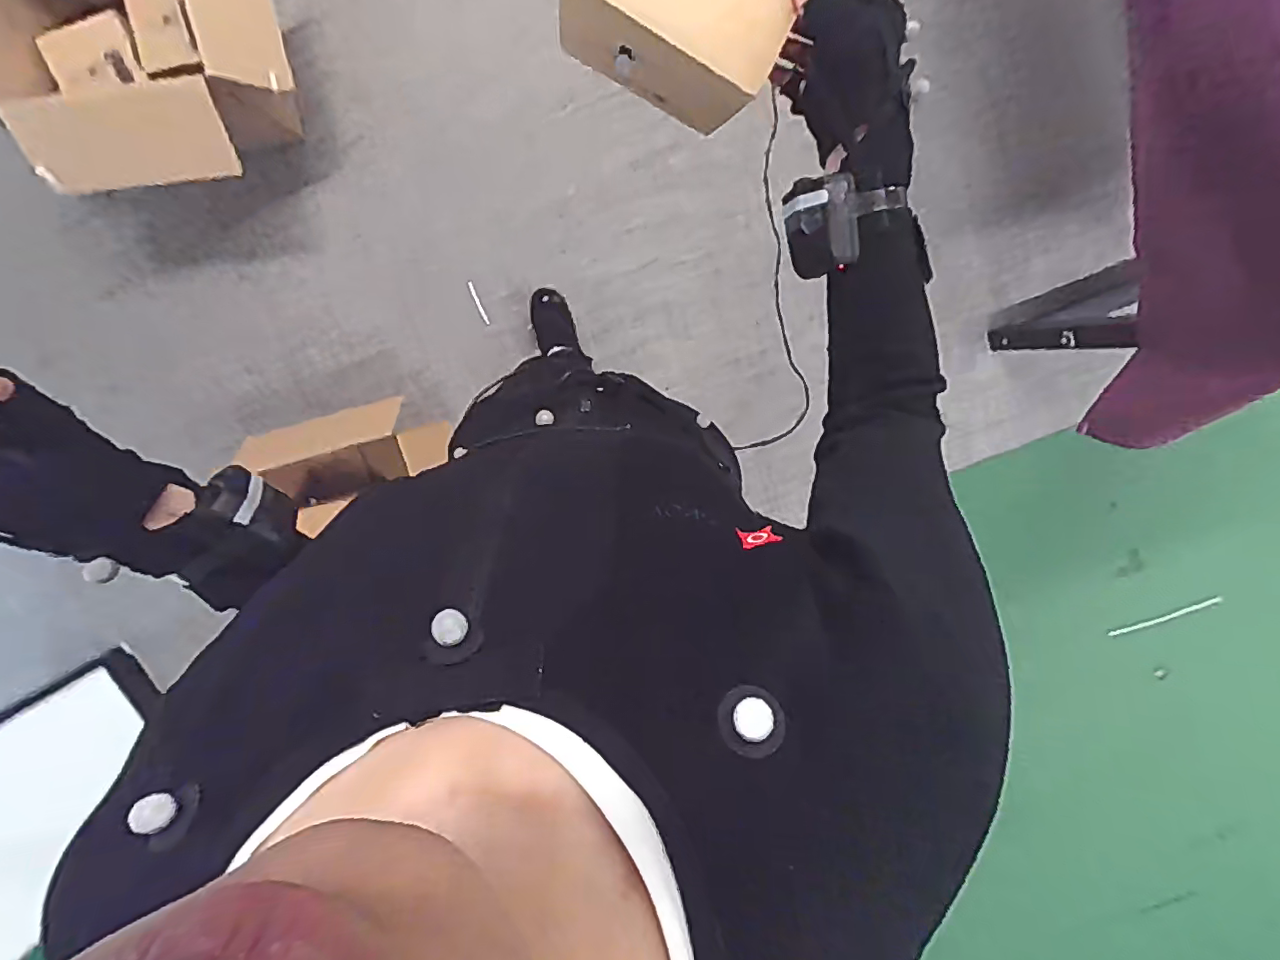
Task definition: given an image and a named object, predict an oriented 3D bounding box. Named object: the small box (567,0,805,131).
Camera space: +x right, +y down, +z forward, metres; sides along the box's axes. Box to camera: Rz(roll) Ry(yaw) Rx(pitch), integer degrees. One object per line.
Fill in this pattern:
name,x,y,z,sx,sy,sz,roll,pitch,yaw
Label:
small box,0.047,-0.421,0.436,0.168,0.176,0.179,22,107,-16
